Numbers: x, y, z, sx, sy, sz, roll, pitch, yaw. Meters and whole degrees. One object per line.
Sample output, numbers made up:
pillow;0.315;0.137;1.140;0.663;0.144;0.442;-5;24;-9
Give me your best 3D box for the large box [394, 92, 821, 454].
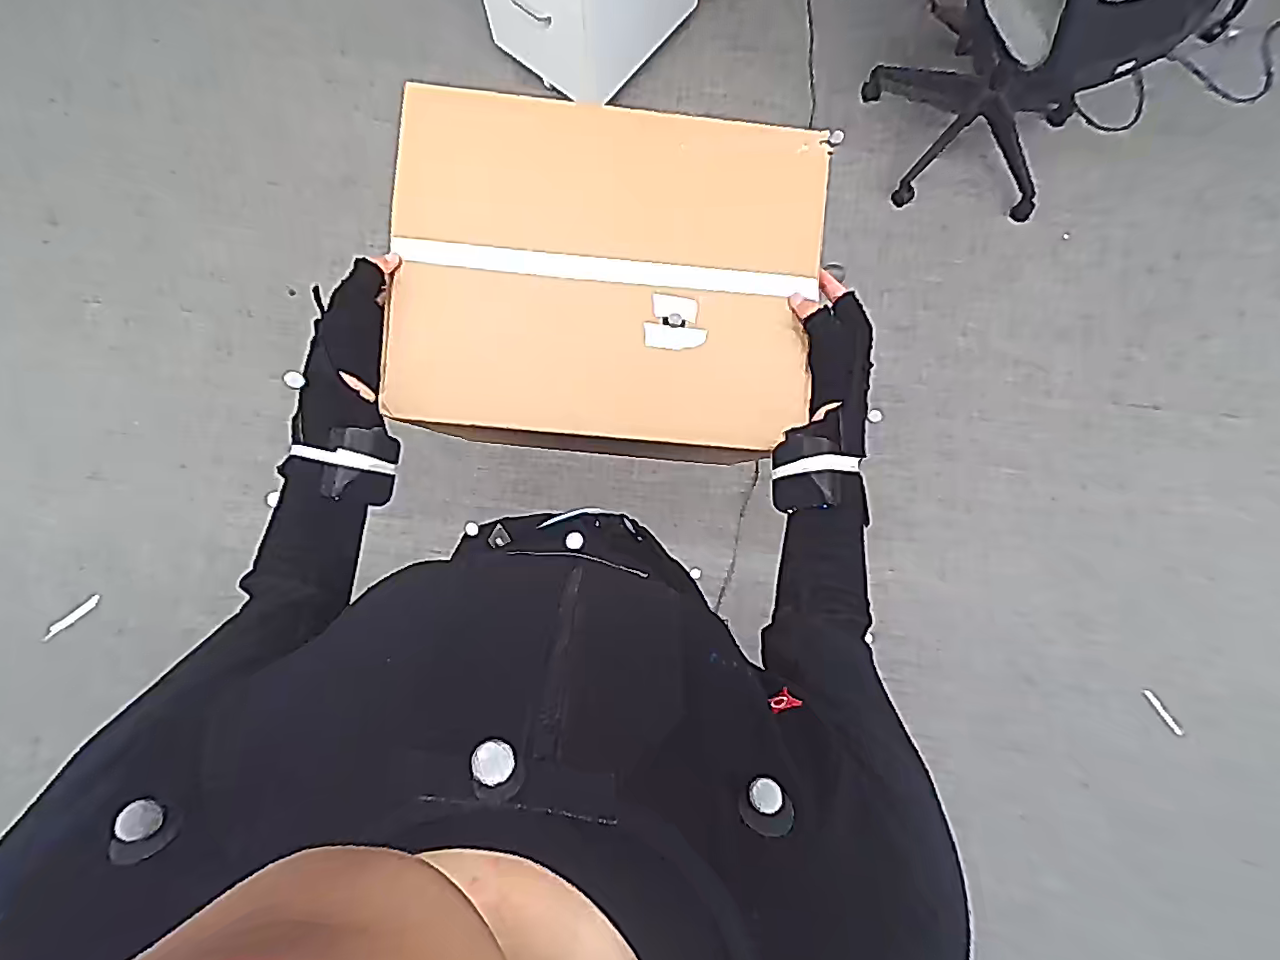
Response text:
large box;-0.038;-0.205;0.674;0.408;0.320;0.320;5;91;-4
